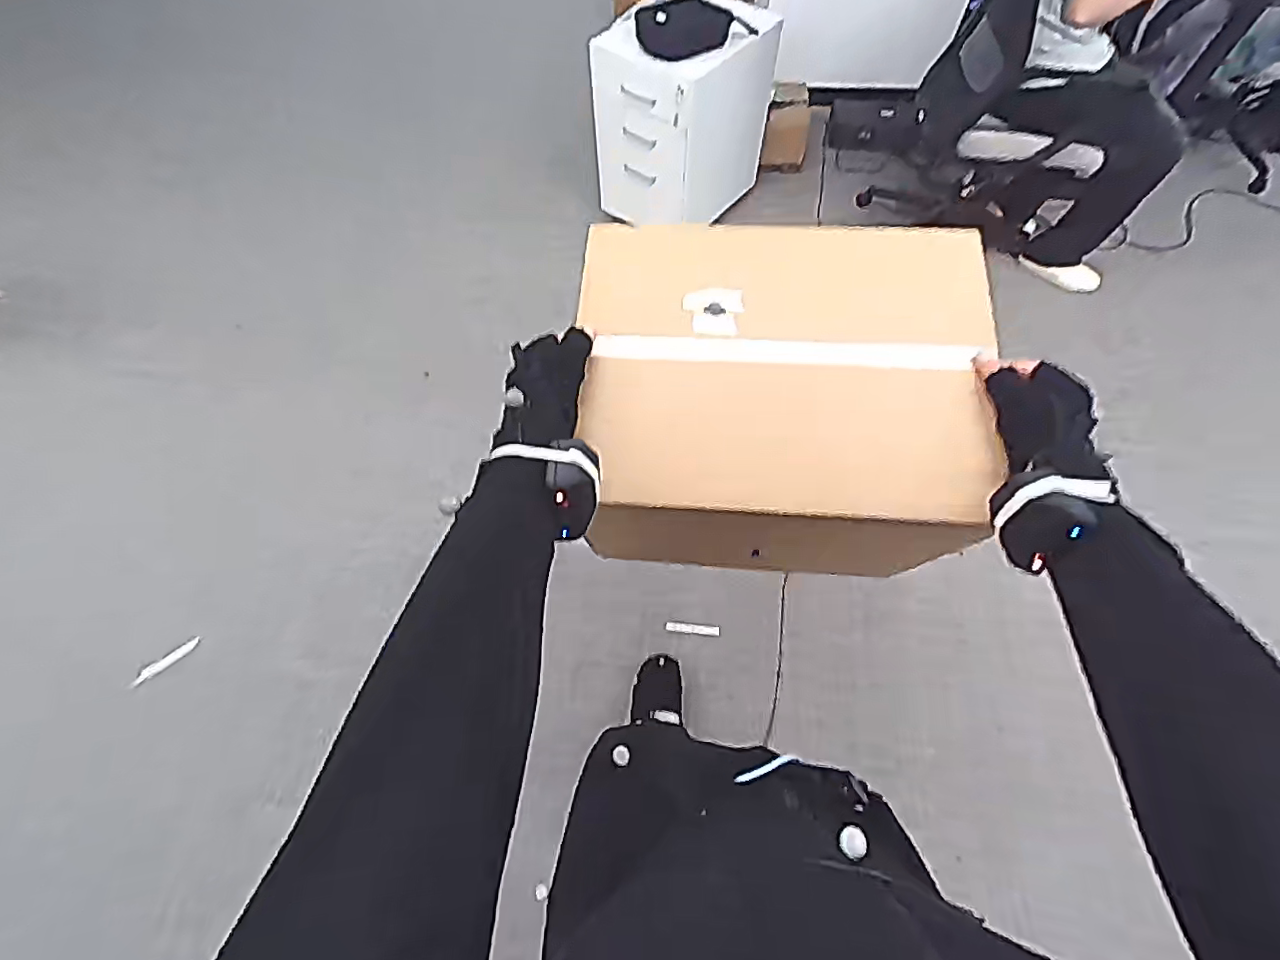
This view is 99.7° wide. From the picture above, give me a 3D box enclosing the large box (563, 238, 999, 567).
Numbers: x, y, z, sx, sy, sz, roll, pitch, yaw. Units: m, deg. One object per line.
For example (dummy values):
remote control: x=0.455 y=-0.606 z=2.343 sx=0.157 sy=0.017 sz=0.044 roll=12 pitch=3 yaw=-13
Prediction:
large box: x=0.148 y=-0.072 z=0.684 sx=0.408 sy=0.320 sz=0.320 roll=3 pitch=71 yaw=6
